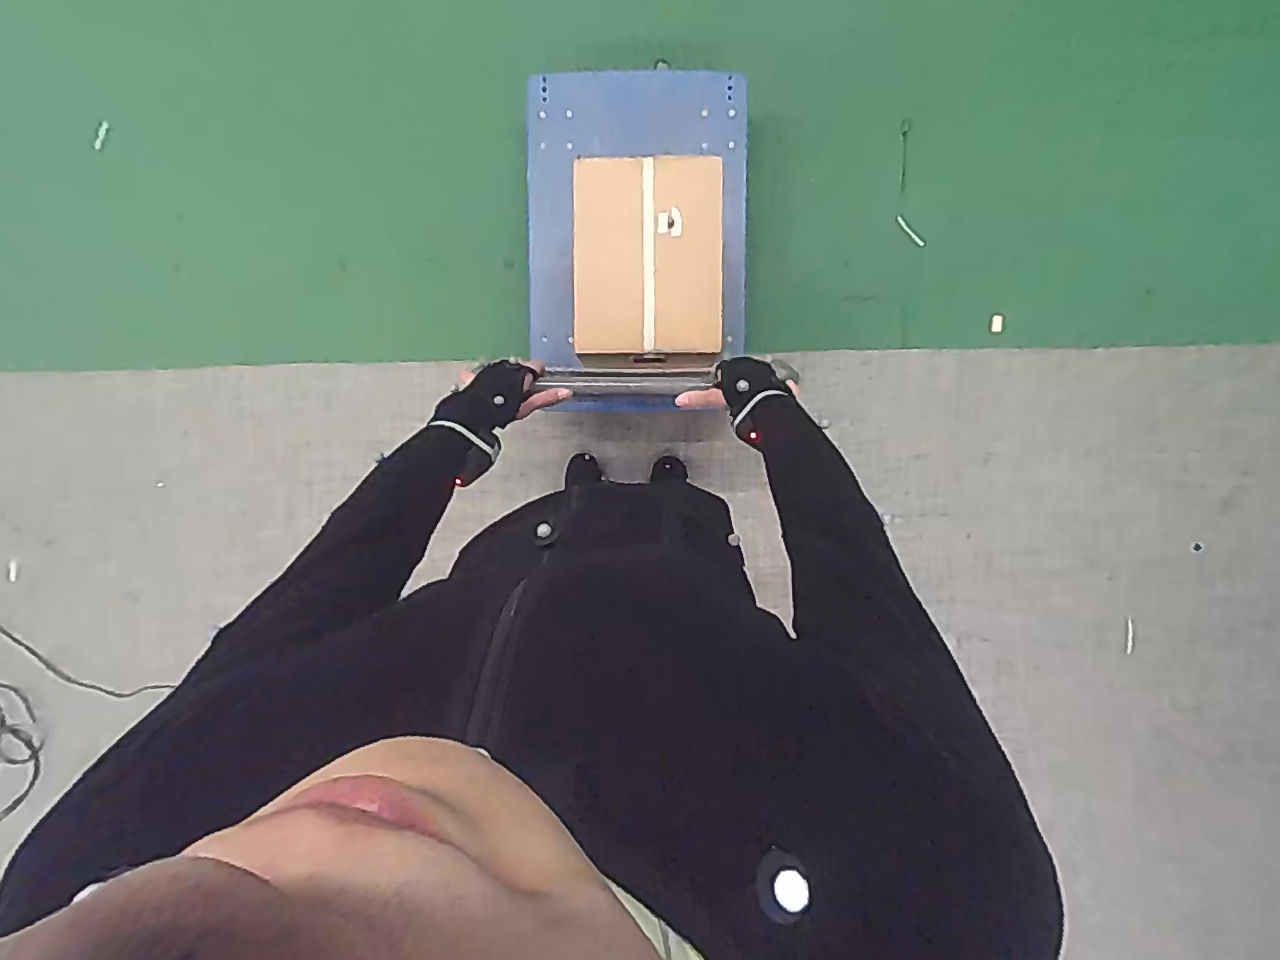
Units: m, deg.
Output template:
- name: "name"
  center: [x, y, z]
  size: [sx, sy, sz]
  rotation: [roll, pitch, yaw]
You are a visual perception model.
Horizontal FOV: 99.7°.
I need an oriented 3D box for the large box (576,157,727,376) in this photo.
- name: "large box"
  center: [0.026, -0.467, 1.265]
  size: [0.320, 0.320, 0.408]
  rotation: [0, 92, 0]
